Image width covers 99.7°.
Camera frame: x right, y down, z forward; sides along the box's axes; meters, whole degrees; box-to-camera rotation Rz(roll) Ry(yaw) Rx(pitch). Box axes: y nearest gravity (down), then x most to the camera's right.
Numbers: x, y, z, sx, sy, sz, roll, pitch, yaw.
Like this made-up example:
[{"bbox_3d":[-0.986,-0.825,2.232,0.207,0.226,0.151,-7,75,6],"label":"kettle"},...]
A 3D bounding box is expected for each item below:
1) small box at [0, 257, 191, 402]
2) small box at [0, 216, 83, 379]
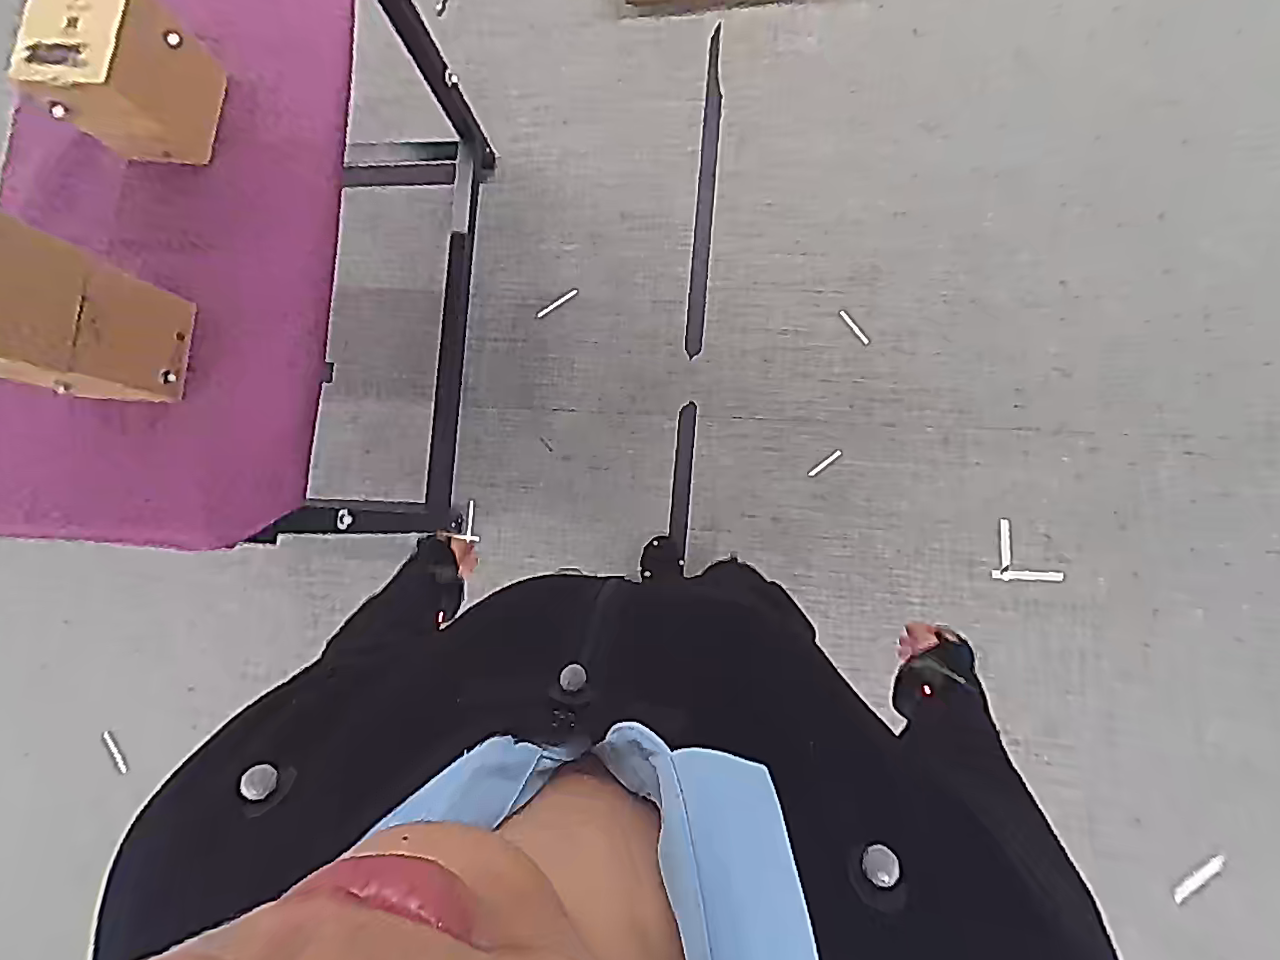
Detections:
[{"bbox_3d":[-0.834,-0.219,0.815,0.179,0.176,0.168,3,84,6],"label":"small box"},{"bbox_3d":[-0.840,-0.234,0.650,0.168,0.176,0.179,3,84,6],"label":"small box"}]
